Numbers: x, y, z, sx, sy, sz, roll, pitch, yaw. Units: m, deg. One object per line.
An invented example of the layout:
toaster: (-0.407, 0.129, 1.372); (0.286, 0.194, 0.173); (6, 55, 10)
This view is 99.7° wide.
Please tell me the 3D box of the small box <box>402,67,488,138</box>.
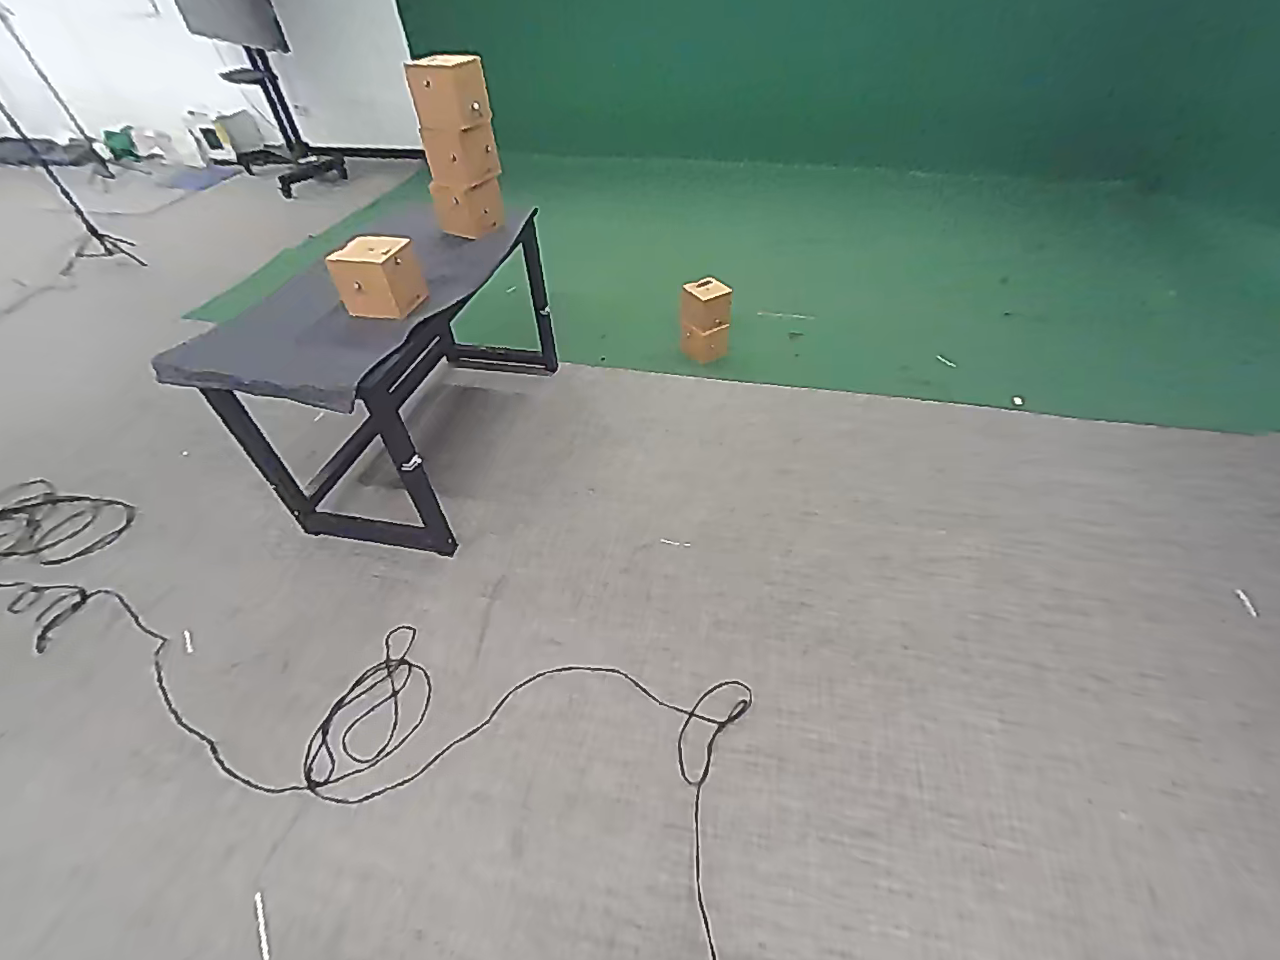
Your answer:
small box: (-0.619, -1.212, 1.737); (0.179, 0.176, 0.168); (14, 47, 17)

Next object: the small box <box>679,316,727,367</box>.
small box: (0.306, -0.673, 2.654); (0.168, 0.176, 0.179); (-25, 49, -20)

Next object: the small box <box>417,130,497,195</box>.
small box: (-0.618, -1.091, 1.849); (0.179, 0.176, 0.168); (17, 47, 22)

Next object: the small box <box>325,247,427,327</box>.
small box: (-0.751, -0.555, 1.558); (0.179, 0.176, 0.168); (6, 46, 11)

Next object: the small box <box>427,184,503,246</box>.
small box: (-0.624, -0.965, 1.952); (0.179, 0.176, 0.168); (21, 50, 25)
